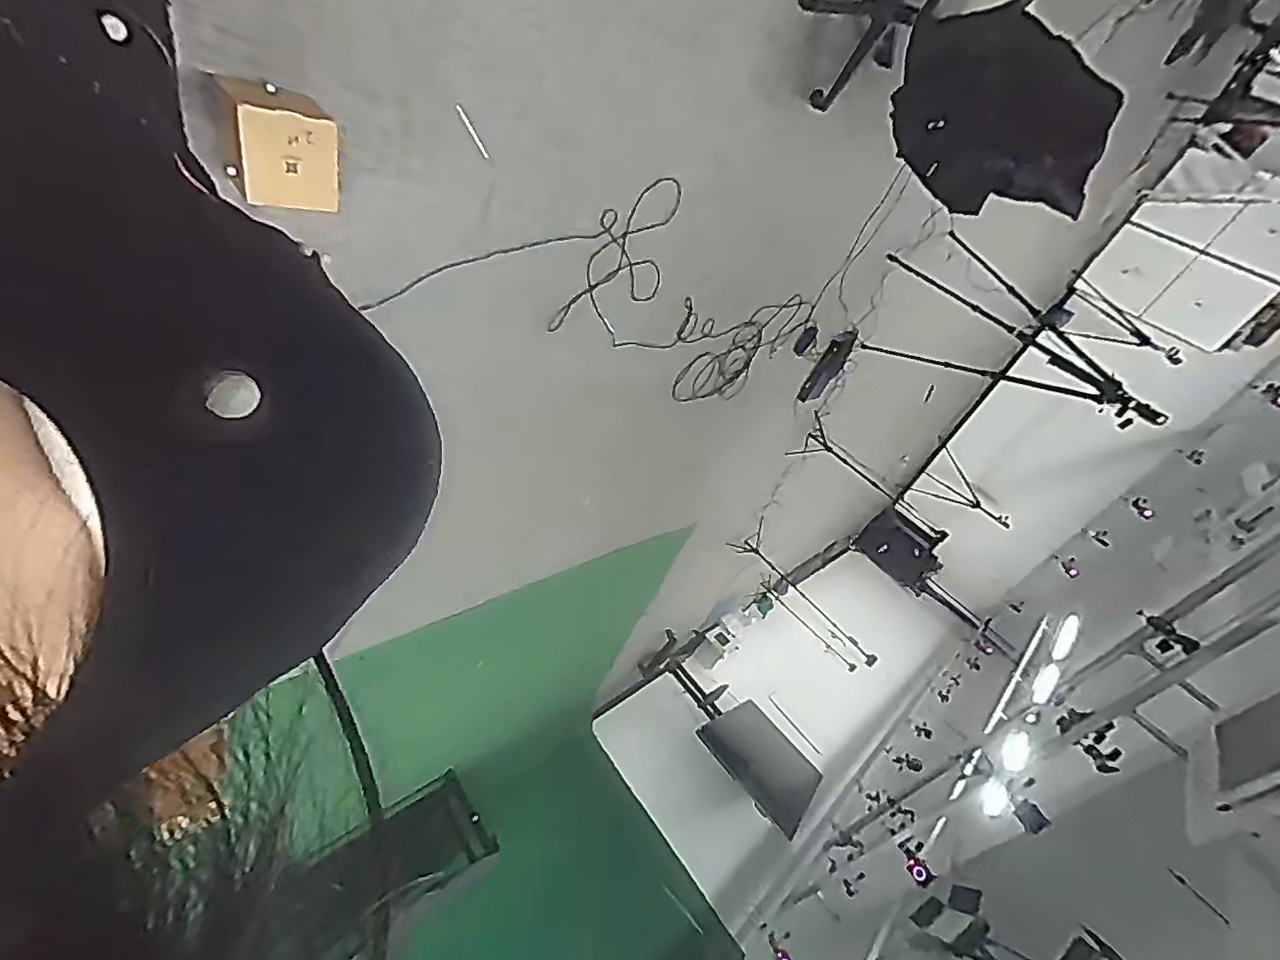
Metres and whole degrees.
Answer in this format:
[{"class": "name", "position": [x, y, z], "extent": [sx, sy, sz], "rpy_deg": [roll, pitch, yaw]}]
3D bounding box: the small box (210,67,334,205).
[{"class": "small box", "position": [-0.733, -0.683, 1.084], "extent": [0.168, 0.176, 0.179], "rpy_deg": [-18, 144, -41]}]

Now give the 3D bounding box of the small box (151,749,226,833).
[{"class": "small box", "position": [-1.612, 1.104, 1.933], "extent": [0.179, 0.176, 0.168], "rpy_deg": [-12, 138, -44]}]

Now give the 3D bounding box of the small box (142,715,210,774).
[{"class": "small box", "position": [-1.721, 1.008, 2.011], "extent": [0.168, 0.176, 0.179], "rpy_deg": [-14, 139, -44]}]
